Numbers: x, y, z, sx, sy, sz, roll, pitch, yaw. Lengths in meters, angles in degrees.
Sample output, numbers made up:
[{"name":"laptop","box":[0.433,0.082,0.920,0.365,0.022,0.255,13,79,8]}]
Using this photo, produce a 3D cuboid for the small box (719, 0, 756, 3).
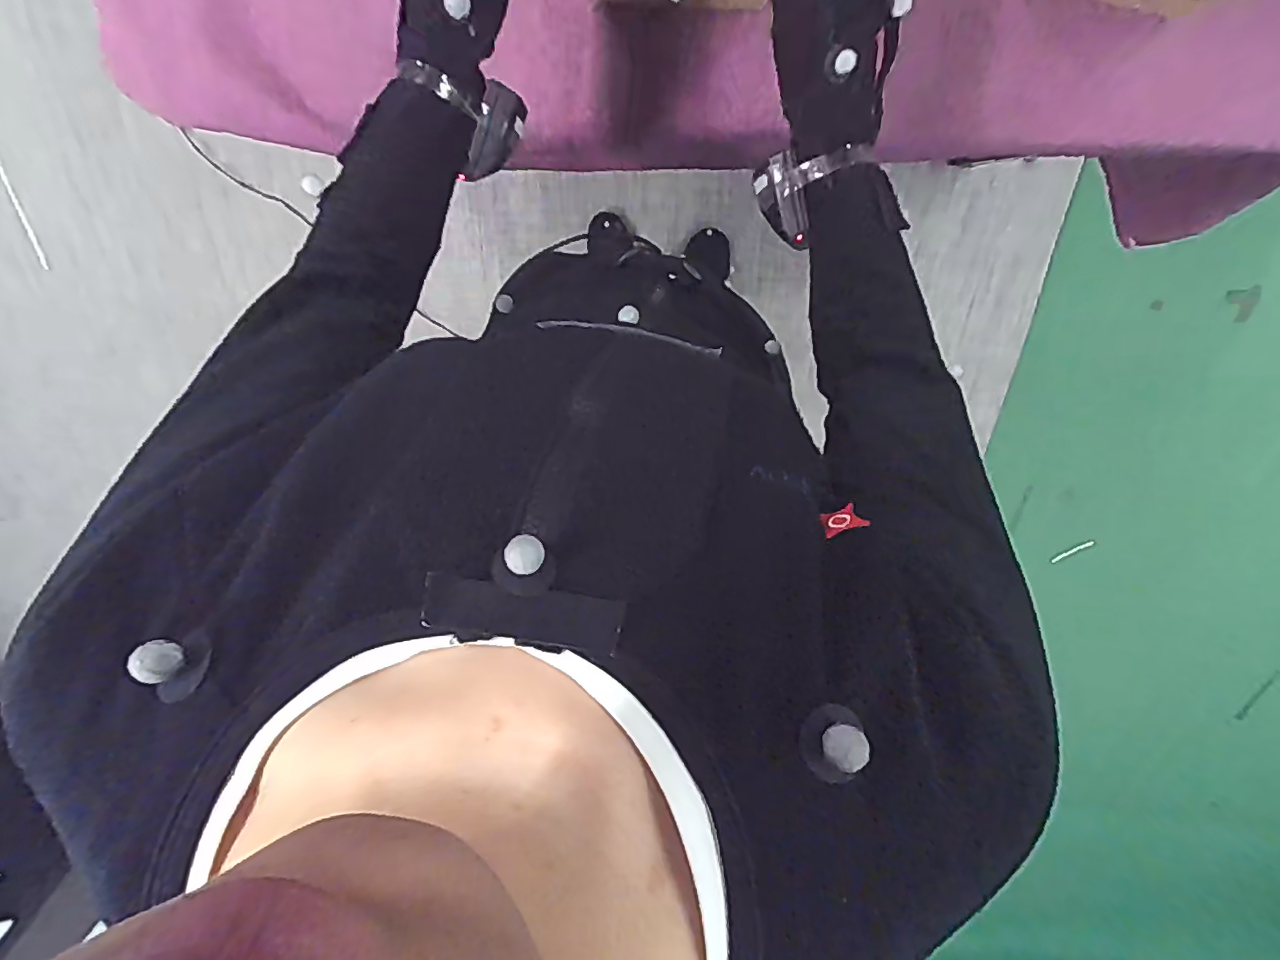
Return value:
[{"name":"small box","box":[0.038,-0.493,0.405,0.168,0.176,0.179,5,118,2]}]

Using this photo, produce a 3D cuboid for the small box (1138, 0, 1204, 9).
[{"name":"small box","box":[0.423,-0.476,0.380,0.168,0.176,0.179,13,117,-2]}]
